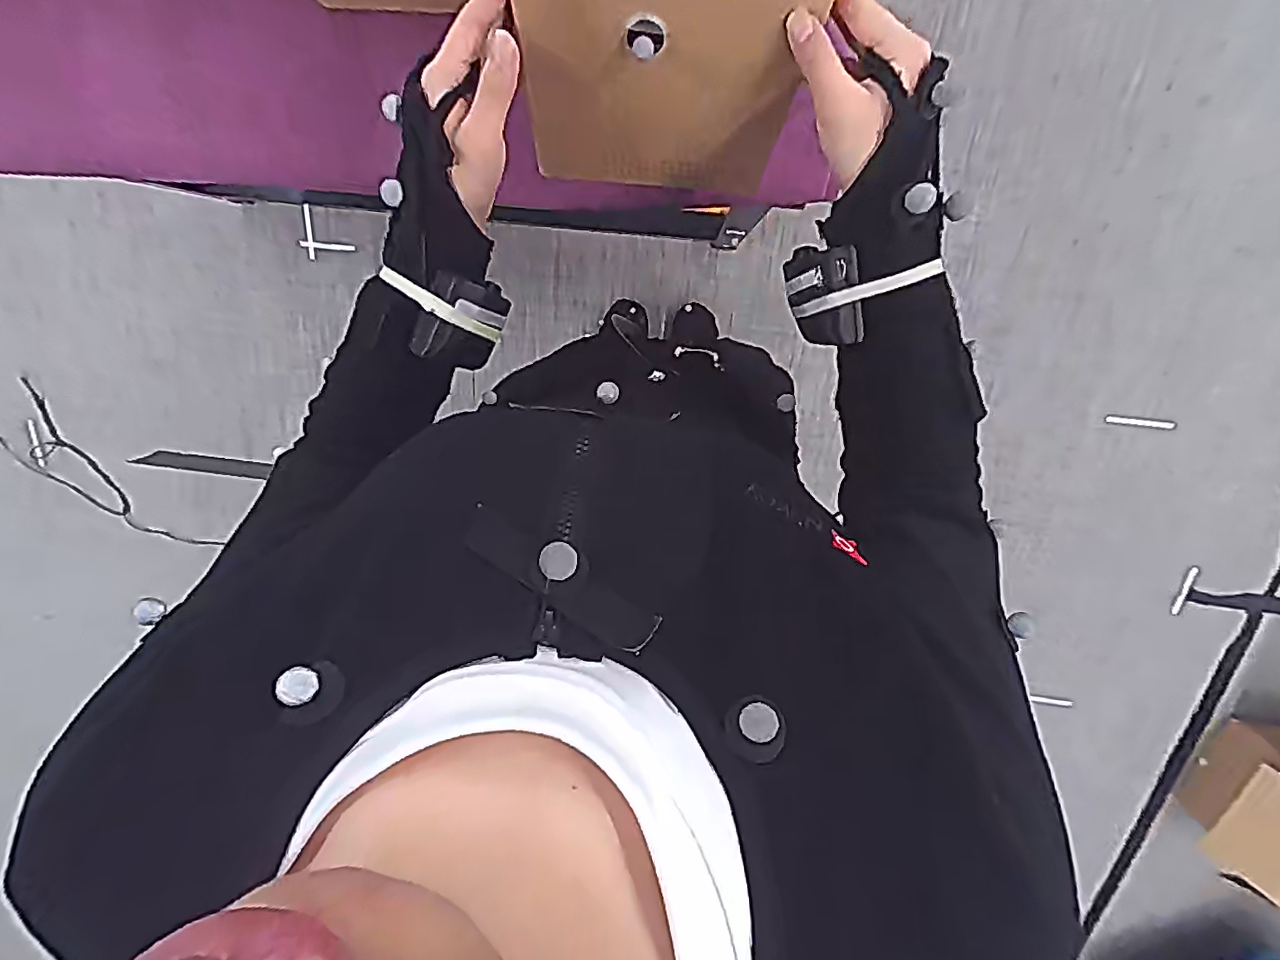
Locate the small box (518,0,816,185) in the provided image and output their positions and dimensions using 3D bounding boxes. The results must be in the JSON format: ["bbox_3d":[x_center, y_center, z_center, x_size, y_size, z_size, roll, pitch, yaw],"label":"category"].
[{"bbox_3d":[0.015,-0.329,0.363,0.179,0.176,0.168,3,82,-3],"label":"small box"}]

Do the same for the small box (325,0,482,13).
[{"bbox_3d":[-0.210,-0.485,0.398,0.179,0.176,0.168,5,107,3],"label":"small box"}]
